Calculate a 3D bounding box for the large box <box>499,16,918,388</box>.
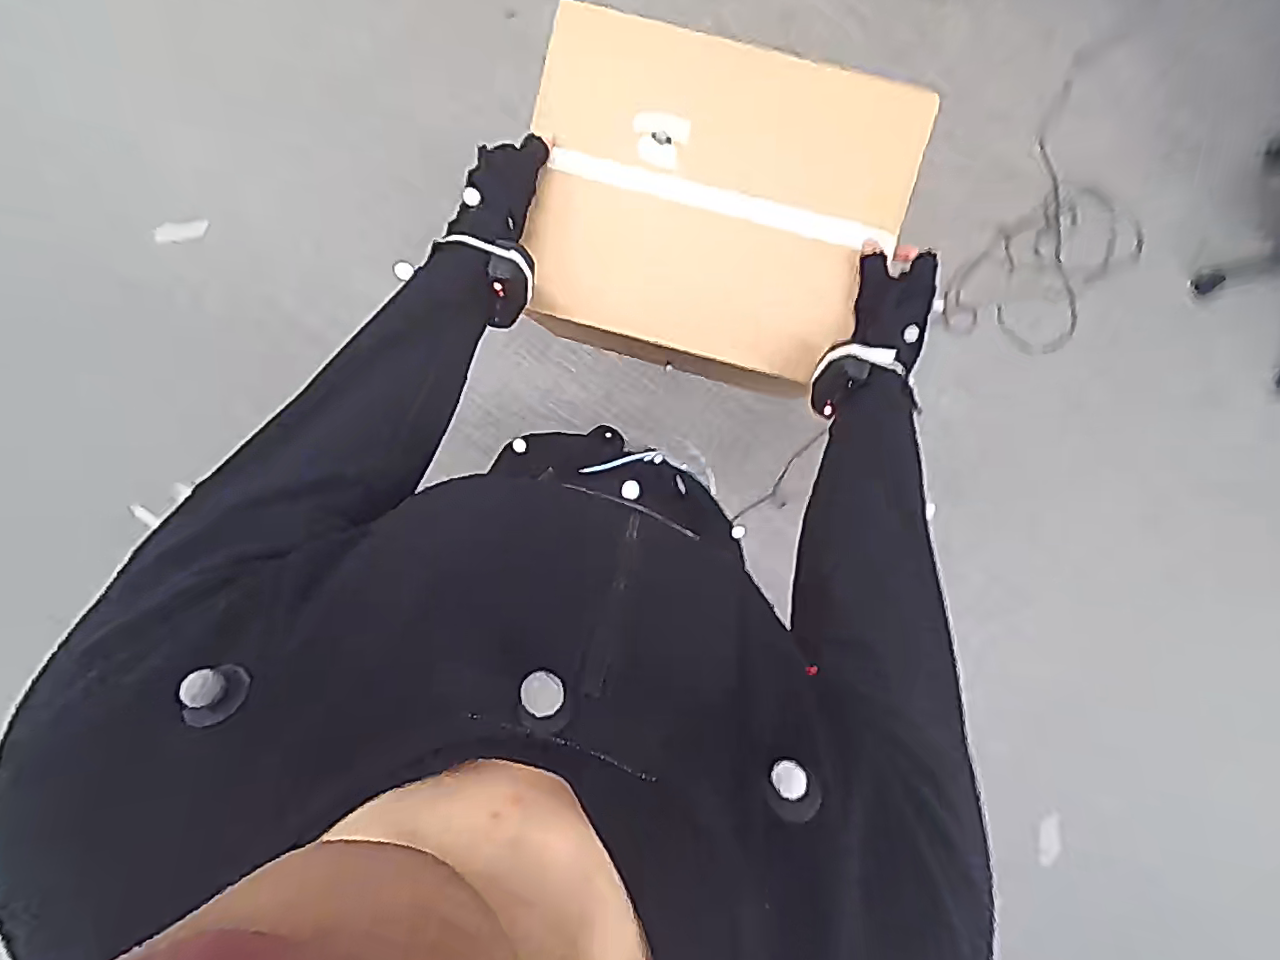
[{"bbox_3d":[0.075,-0.320,0.734,0.408,0.320,0.320,14,97,1],"label":"large box"}]
